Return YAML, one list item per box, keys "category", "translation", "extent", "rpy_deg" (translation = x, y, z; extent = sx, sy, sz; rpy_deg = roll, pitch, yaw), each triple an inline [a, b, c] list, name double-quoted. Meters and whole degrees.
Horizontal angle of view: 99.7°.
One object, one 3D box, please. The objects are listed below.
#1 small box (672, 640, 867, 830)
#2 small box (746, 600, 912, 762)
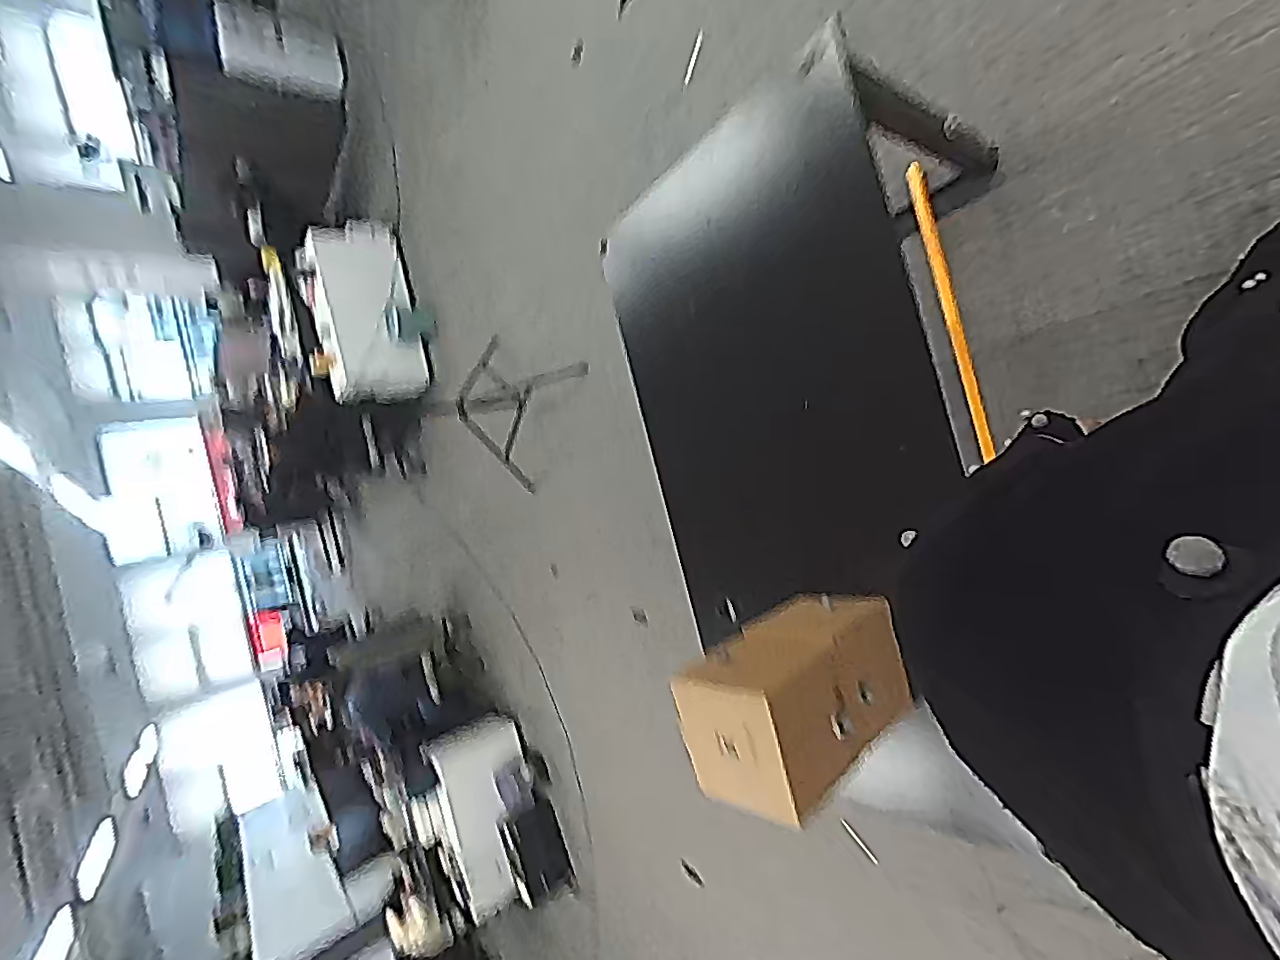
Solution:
- category: "small box"
  translation: [0.178, 0.330, 0.744]
  extent: [0.179, 0.176, 0.168]
  rpy_deg: [-17, 88, 50]
- category: "small box"
  translation: [0.298, 0.300, 0.849]
  extent: [0.168, 0.176, 0.179]
  rpy_deg: [-15, 87, 50]
